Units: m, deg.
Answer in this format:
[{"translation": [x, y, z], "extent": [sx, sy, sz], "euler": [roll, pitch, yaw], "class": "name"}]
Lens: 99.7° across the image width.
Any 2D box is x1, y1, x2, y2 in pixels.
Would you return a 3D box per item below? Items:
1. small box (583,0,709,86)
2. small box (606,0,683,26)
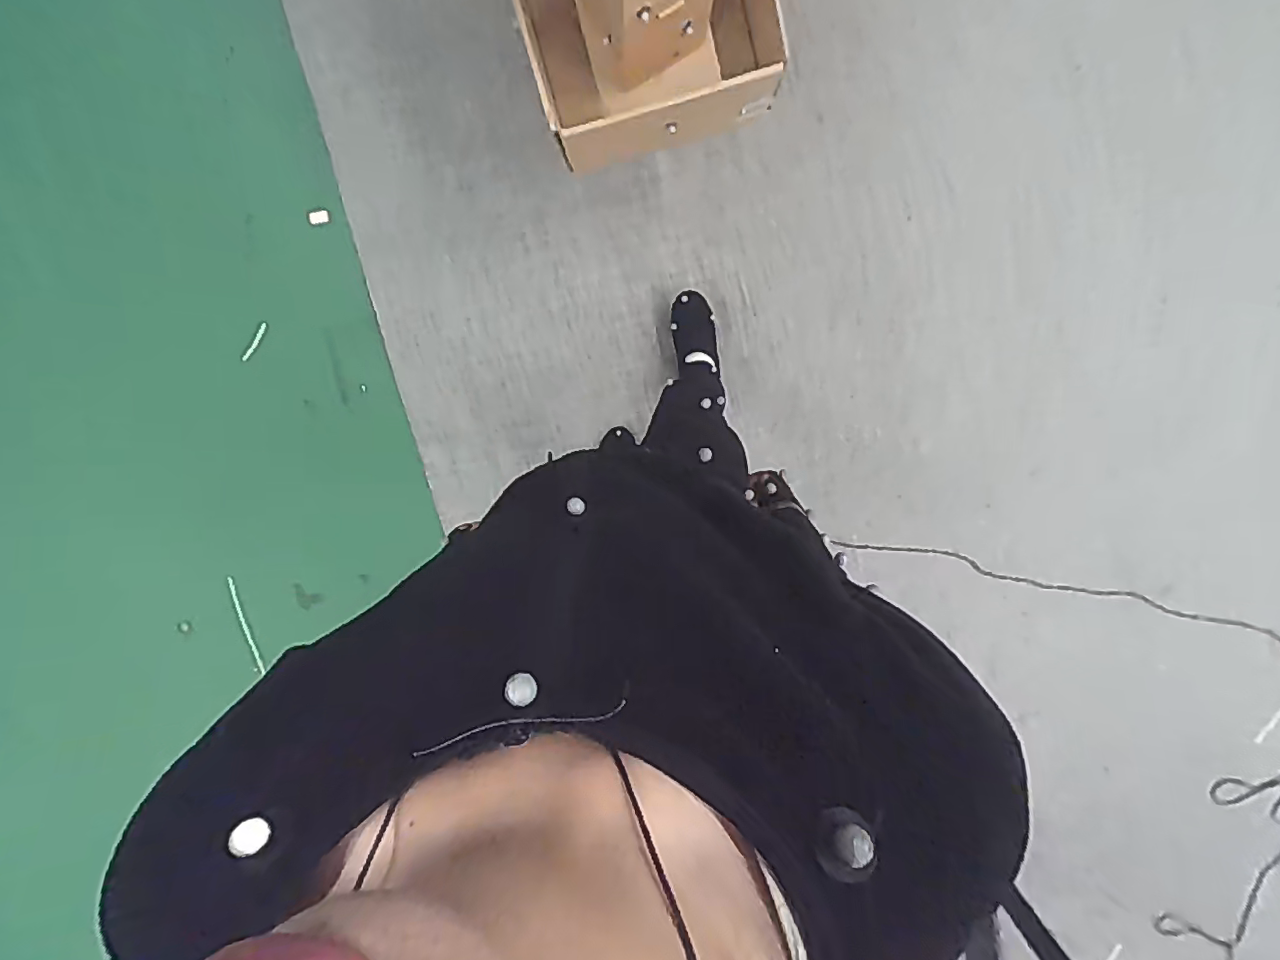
[{"translation": [0.007, -0.795, 0.885], "extent": [0.168, 0.176, 0.179], "euler": [-28, 97, 4], "class": "small box"}, {"translation": [0.008, -0.767, 0.724], "extent": [0.168, 0.176, 0.179], "euler": [-28, 97, 4], "class": "small box"}]
